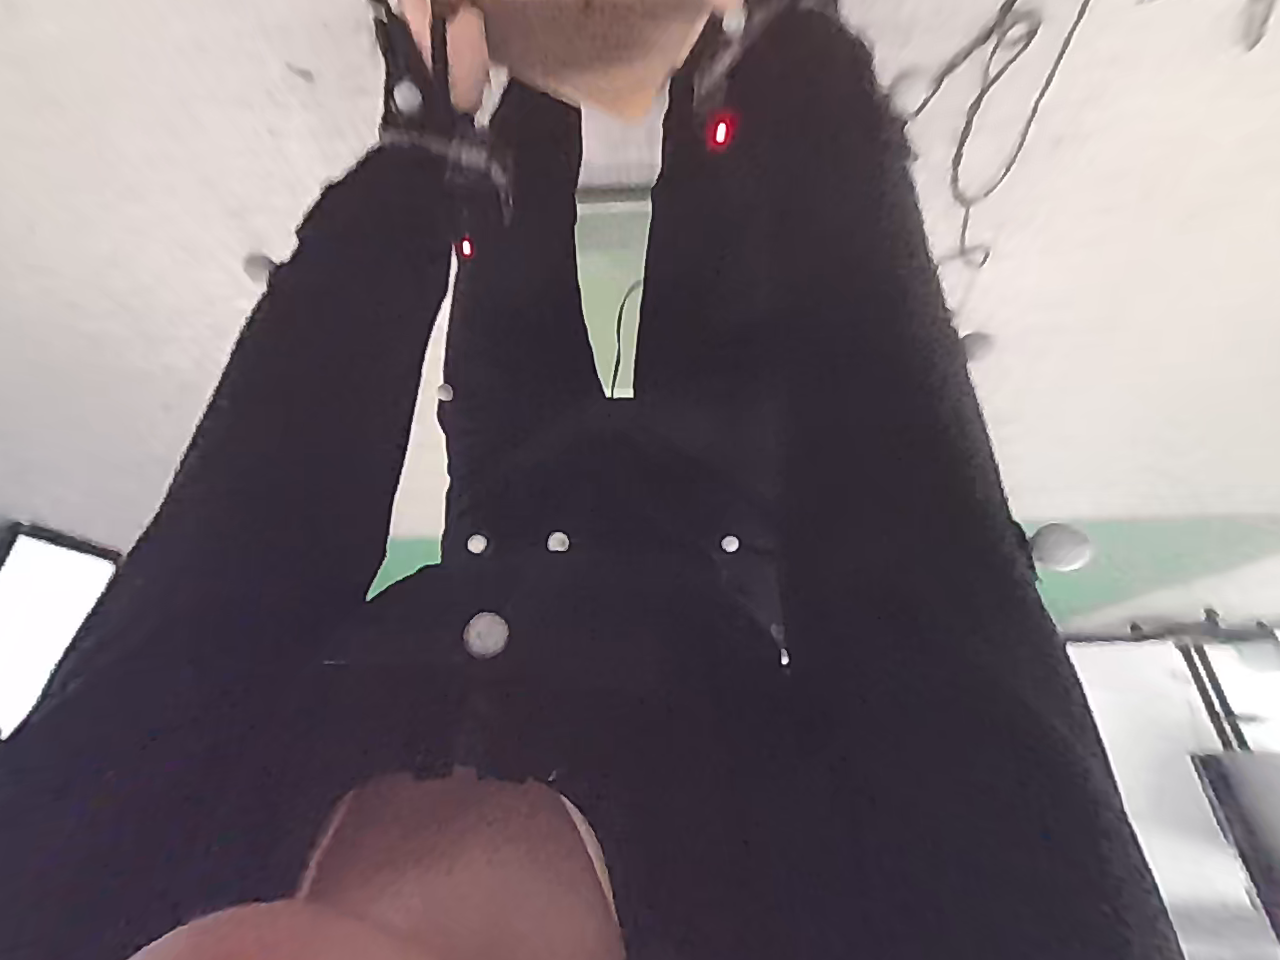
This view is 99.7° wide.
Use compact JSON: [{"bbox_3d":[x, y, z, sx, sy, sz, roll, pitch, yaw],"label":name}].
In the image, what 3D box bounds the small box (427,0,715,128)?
[{"bbox_3d":[-0.042,-0.410,0.383,0.179,0.176,0.168,7,158,-28],"label":"small box"}]
